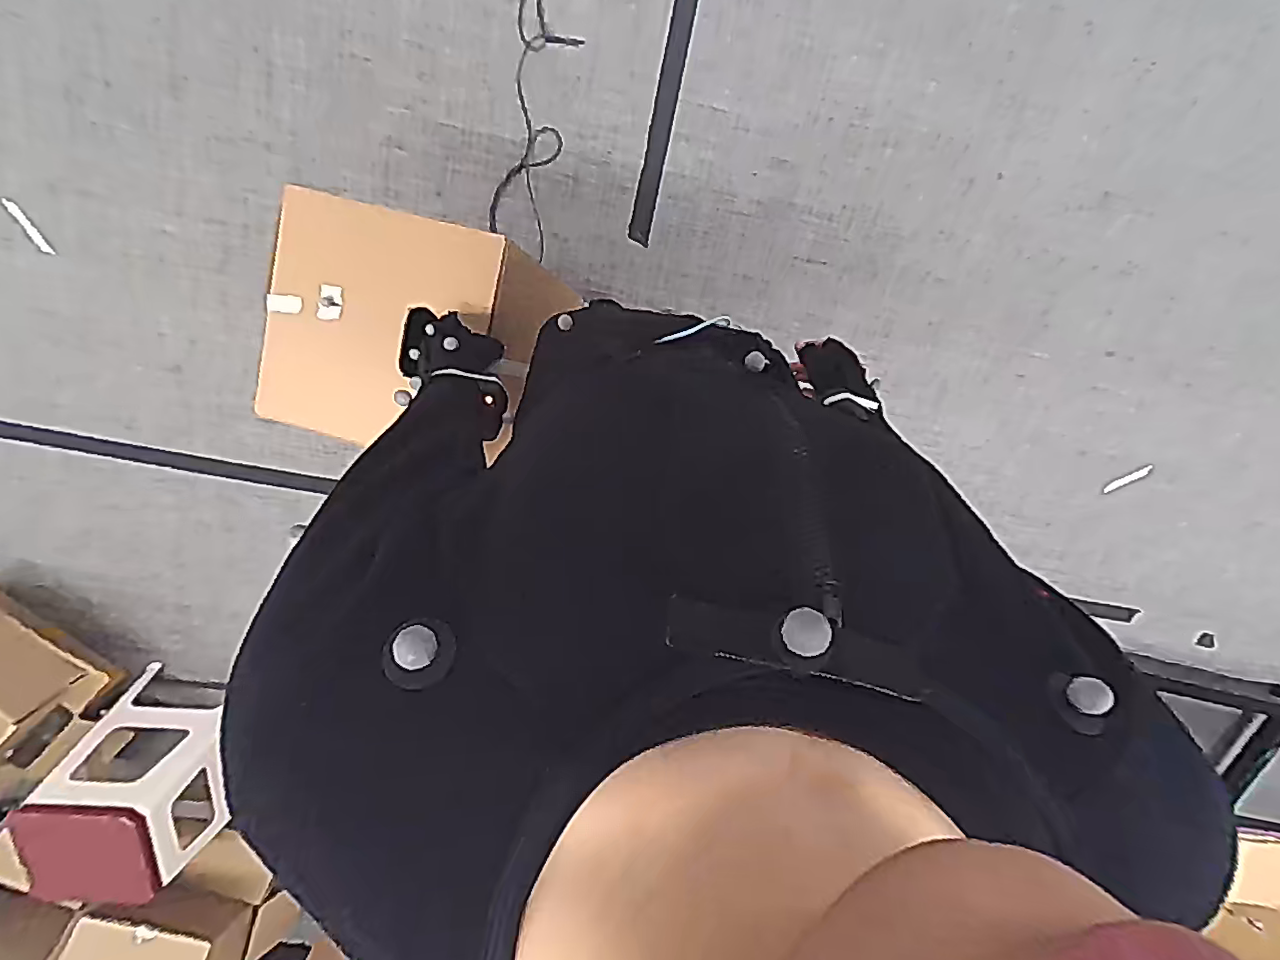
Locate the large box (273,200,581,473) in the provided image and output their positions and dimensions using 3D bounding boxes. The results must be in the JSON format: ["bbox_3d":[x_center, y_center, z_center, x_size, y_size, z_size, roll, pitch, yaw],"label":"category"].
[{"bbox_3d":[-0.323,-0.224,0.918,0.320,0.408,0.320,17,100,4],"label":"large box"}]
